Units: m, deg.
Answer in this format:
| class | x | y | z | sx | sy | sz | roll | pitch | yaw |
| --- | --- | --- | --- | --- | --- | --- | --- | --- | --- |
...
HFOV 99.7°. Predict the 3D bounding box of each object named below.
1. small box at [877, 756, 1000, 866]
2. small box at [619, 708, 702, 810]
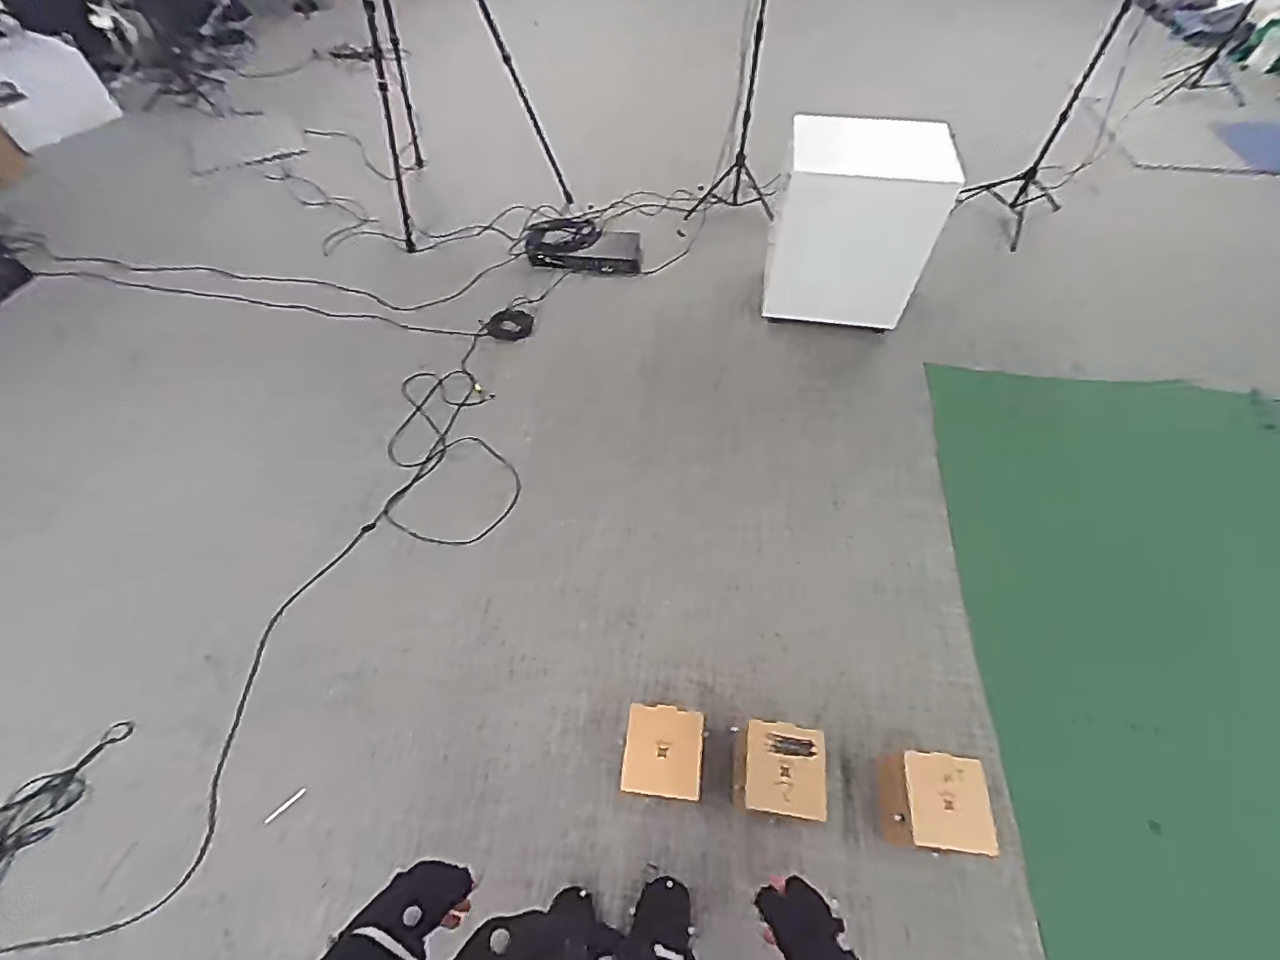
| class | x | y | z | sx | sy | sz | roll | pitch | yaw |
| --- | --- | --- | --- | --- | --- | --- | --- | --- | --- |
| small box | 0.631 | 0.713 | 1.168 | 0.168 | 0.176 | 0.179 | 6 | 56 | 4 |
| small box | 0.049 | 0.634 | 1.221 | 0.168 | 0.176 | 0.179 | 6 | 55 | 4 |
